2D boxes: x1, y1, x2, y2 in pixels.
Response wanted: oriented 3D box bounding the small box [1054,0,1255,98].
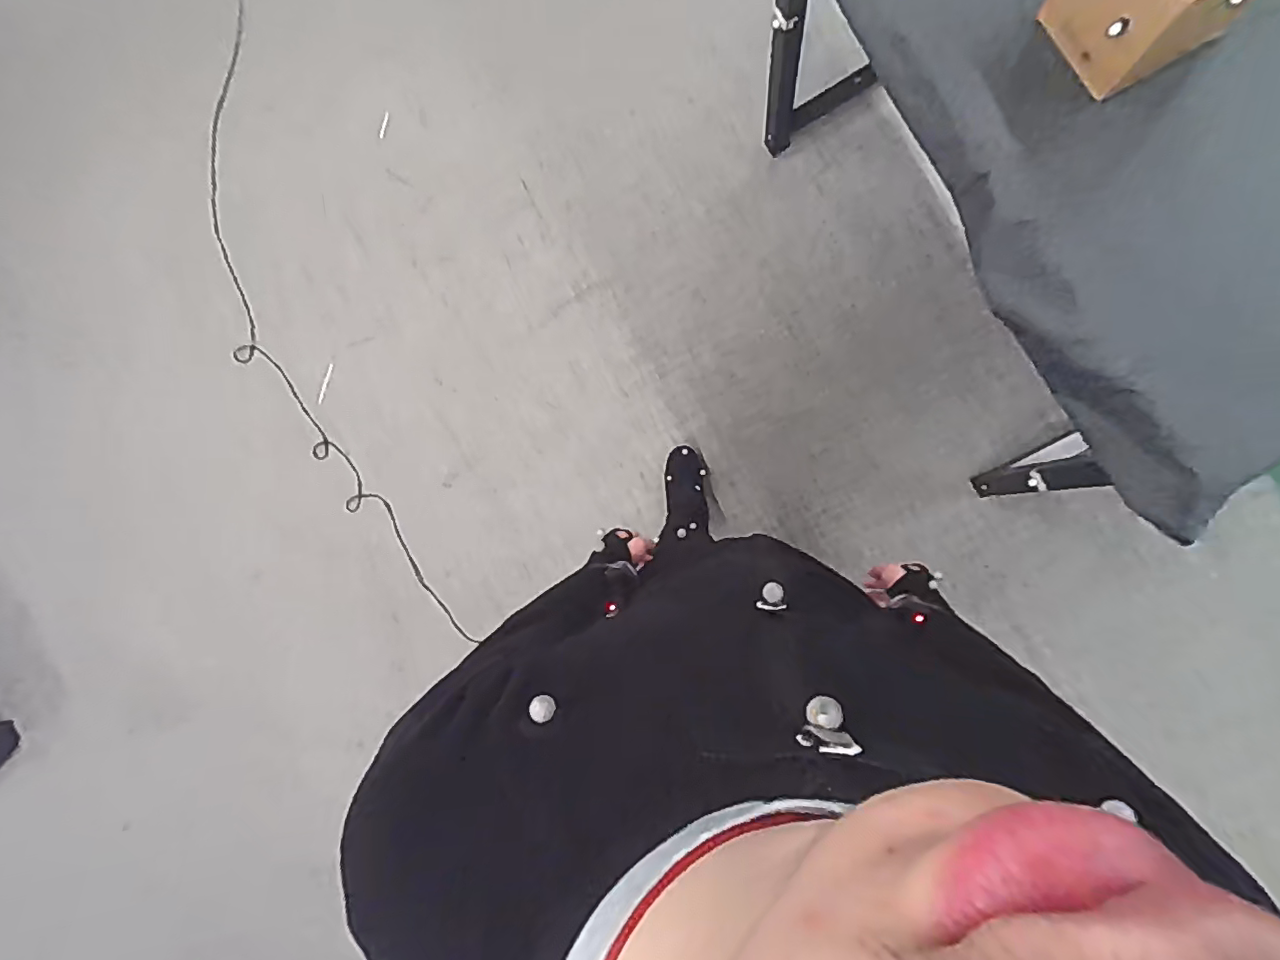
[{"bbox_3d":[0.688,-0.653,0.698,0.179,0.176,0.168,-28,84,6],"label":"small box"}]
